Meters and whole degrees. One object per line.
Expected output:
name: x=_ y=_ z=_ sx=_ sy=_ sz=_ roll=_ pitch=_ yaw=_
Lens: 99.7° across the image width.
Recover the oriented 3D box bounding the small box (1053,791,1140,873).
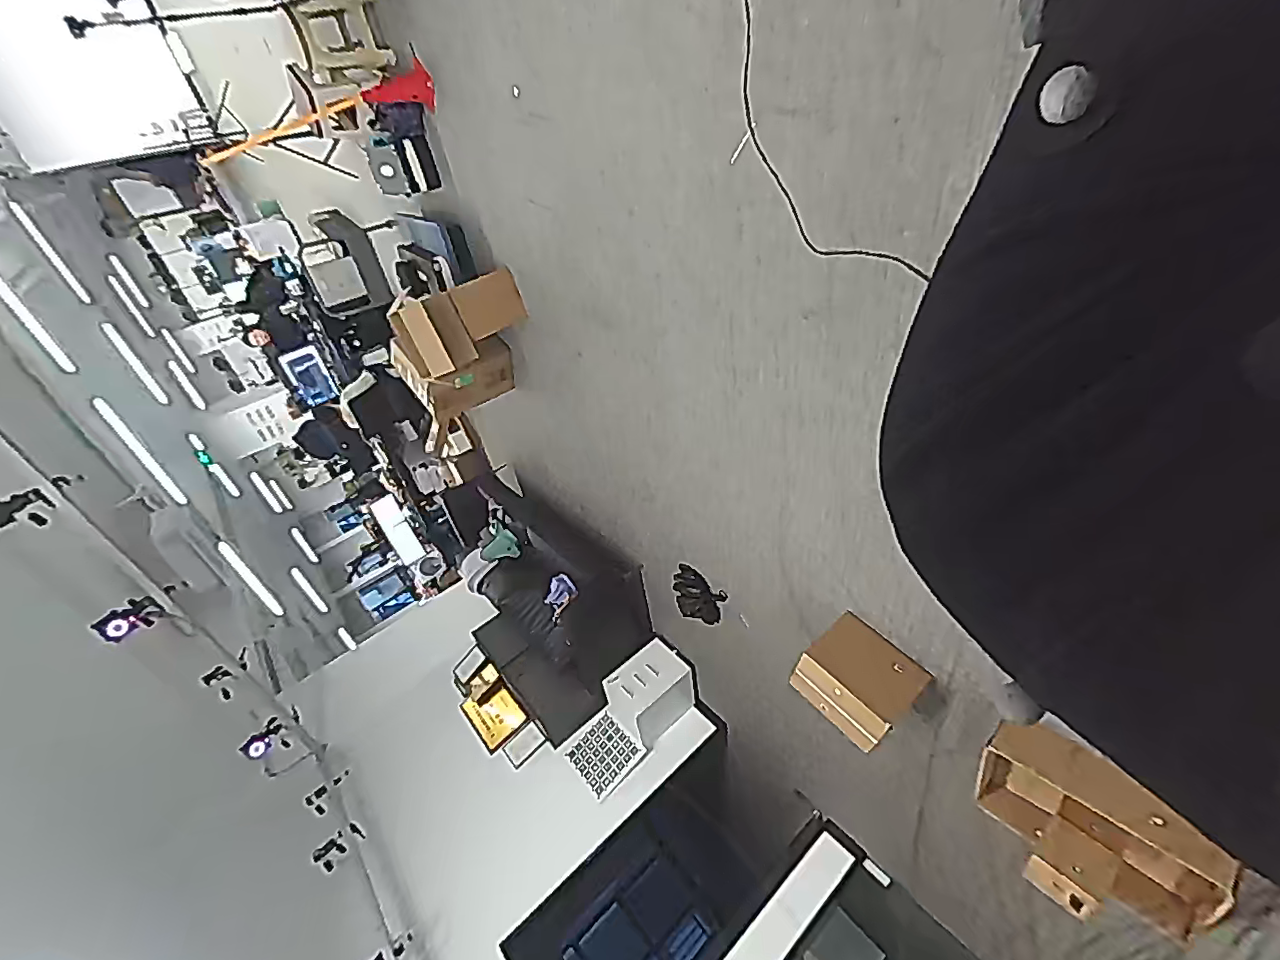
small box: x=1.462 y=1.158 z=1.744 sx=0.179 sy=0.176 sz=0.168 roll=28 pitch=140 yaw=47

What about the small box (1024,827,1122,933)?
small box: x=1.334 y=1.225 z=1.665 sx=0.179 sy=0.176 sz=0.168 roll=30 pitch=142 yaw=45
